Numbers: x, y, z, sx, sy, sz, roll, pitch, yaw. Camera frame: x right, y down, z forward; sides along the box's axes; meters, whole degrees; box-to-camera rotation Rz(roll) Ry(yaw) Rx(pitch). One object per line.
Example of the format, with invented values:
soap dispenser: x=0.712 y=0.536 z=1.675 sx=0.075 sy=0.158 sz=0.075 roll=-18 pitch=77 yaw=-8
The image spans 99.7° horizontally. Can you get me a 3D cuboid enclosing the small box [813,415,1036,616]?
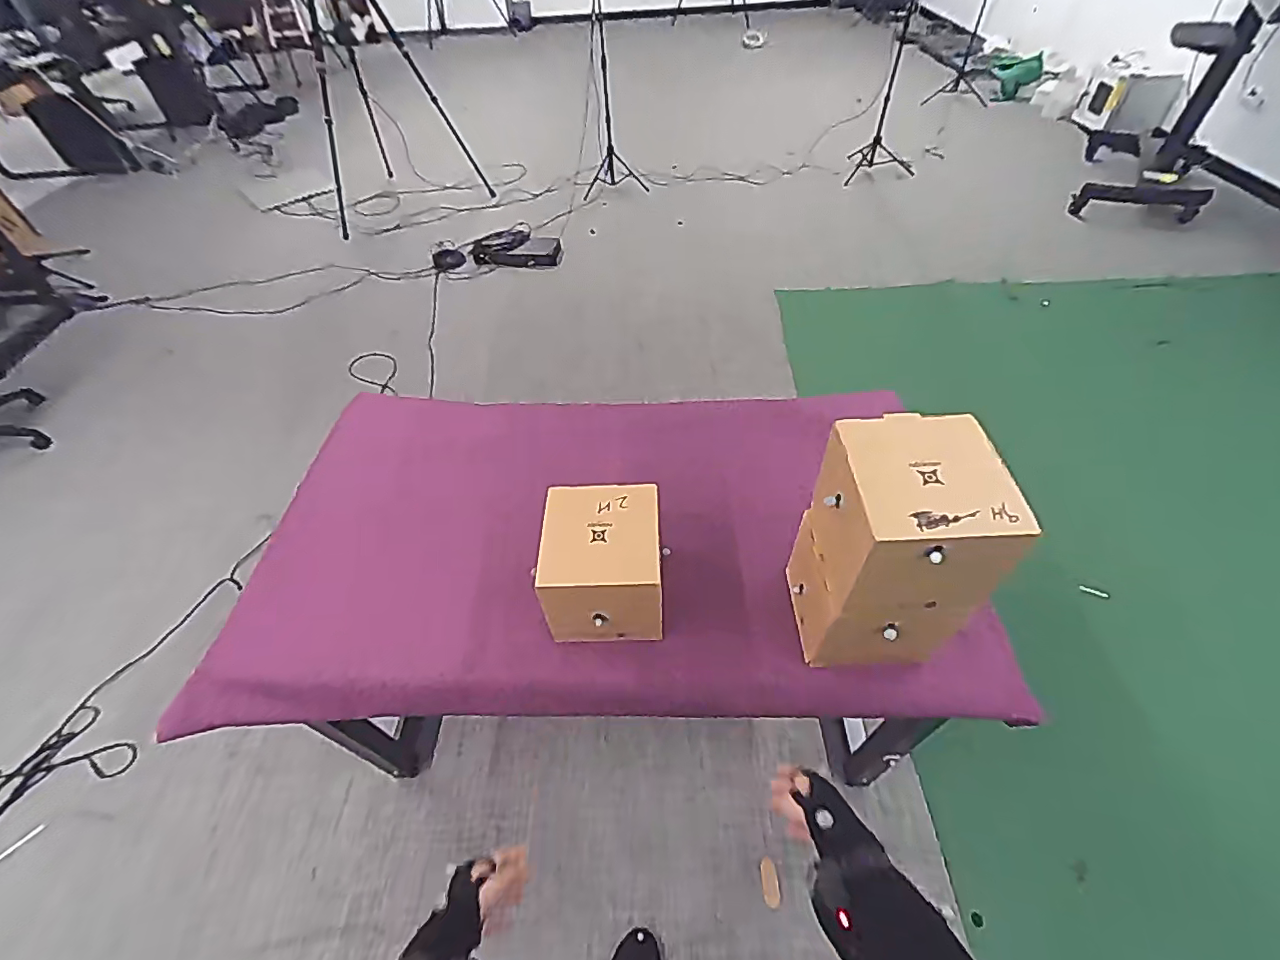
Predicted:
small box: x=0.317 y=0.044 z=0.652 sx=0.168 sy=0.176 sz=0.179 roll=-4 pitch=49 yaw=4

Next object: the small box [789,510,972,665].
small box: x=0.326 y=0.153 z=0.775 sx=0.179 sy=0.176 sz=0.168 roll=-4 pitch=50 yaw=3

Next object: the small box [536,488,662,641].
small box: x=-0.051 y=0.133 z=0.822 sx=0.168 sy=0.176 sz=0.179 roll=-2 pitch=48 yaw=2
